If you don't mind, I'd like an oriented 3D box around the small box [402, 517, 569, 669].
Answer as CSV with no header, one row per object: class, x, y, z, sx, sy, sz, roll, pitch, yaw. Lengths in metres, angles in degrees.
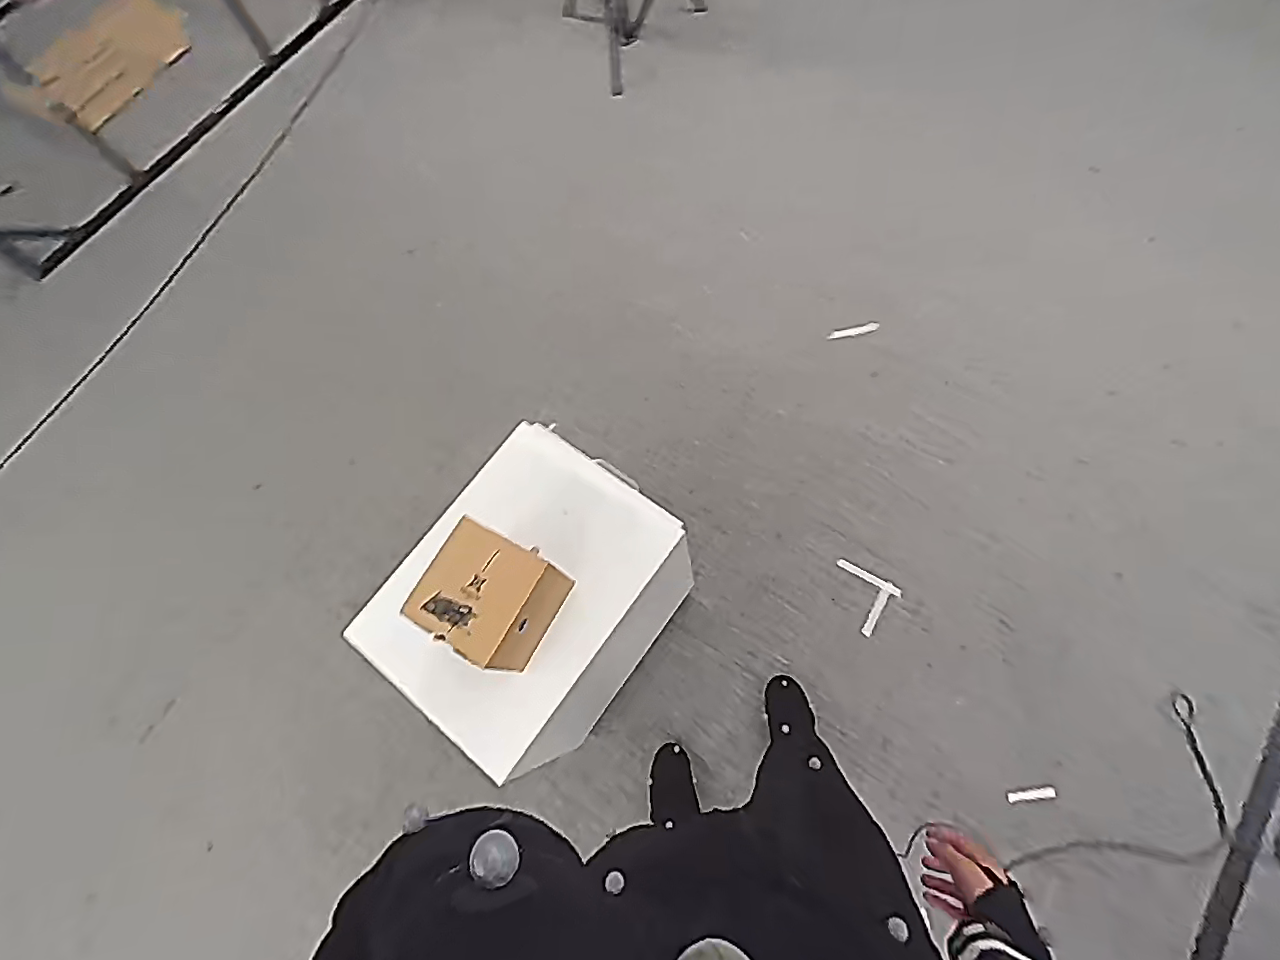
small box,-0.236,0.191,0.877,0.168,0.176,0.179,26,74,16
